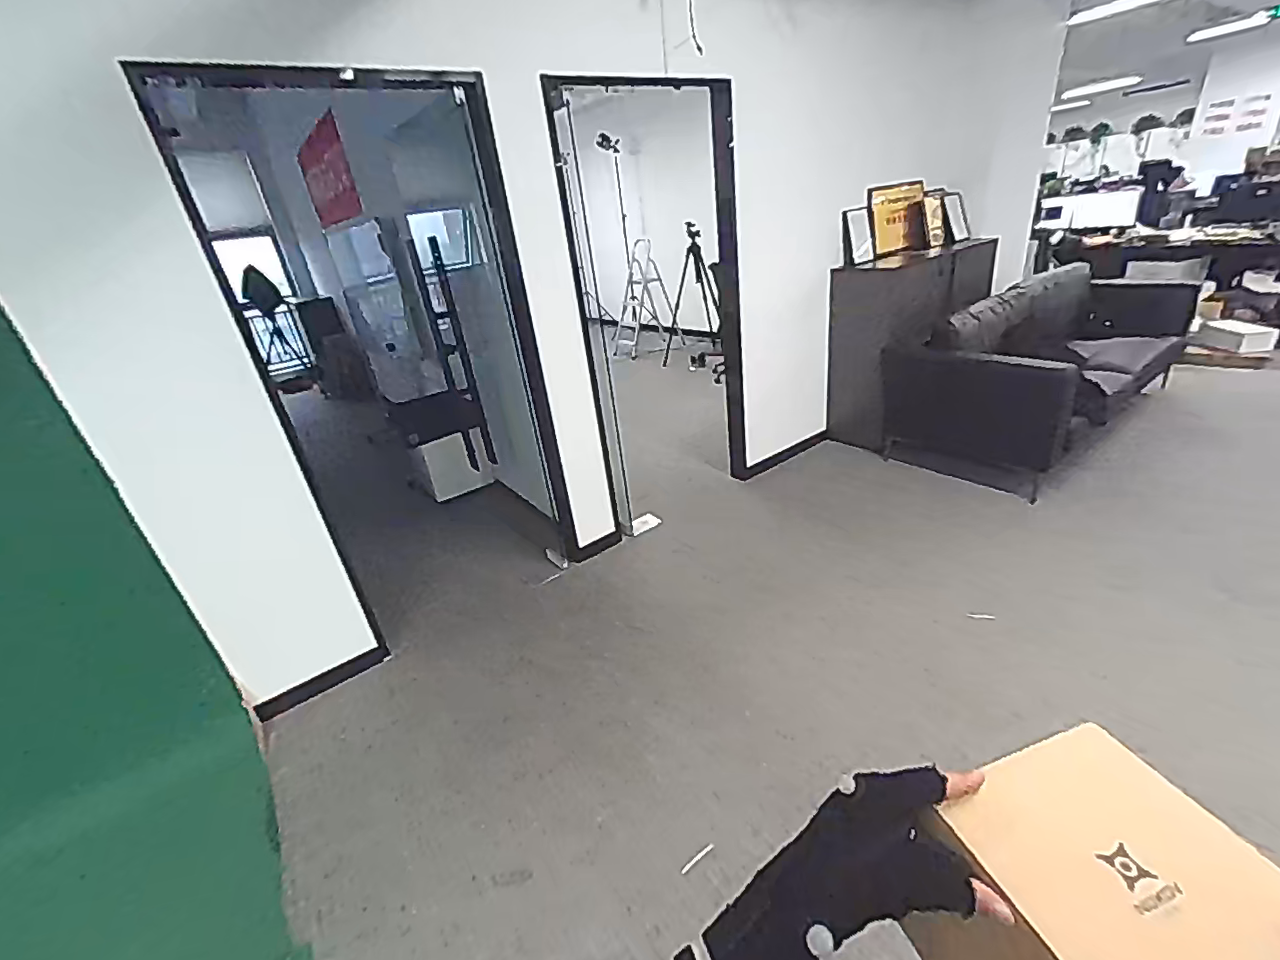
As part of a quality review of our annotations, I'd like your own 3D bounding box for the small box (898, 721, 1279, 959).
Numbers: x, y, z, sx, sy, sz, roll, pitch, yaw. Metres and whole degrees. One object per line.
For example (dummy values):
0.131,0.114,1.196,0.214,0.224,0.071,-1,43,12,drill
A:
0.313,0.316,0.381,0.168,0.176,0.179,-12,29,-13,small box
